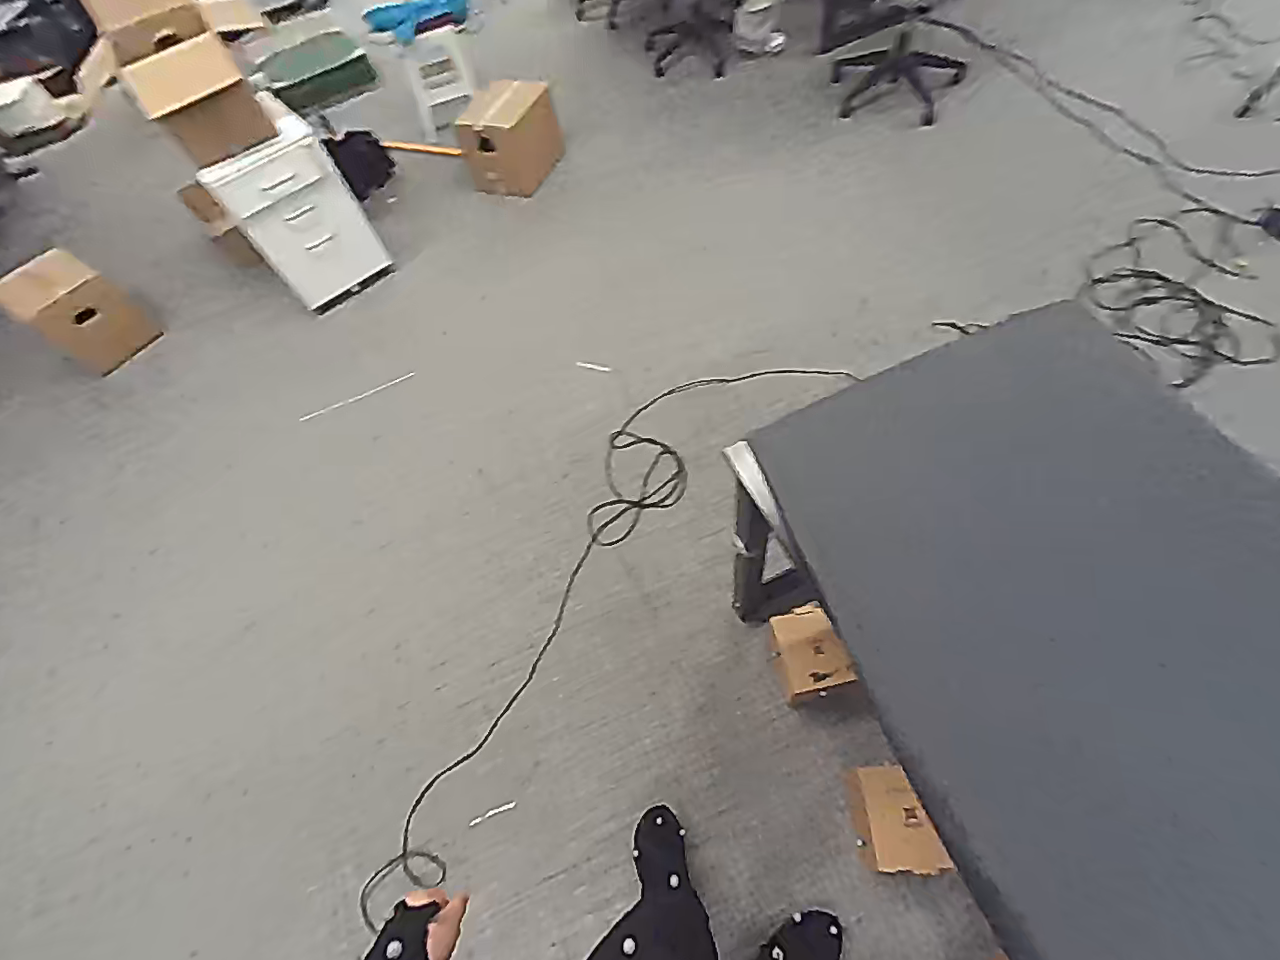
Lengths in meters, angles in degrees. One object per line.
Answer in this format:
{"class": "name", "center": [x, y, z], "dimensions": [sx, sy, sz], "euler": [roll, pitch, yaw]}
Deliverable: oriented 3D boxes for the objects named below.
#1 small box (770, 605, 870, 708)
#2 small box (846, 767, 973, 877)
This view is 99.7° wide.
{"class": "small box", "center": [0.416, 0.423, 1.286], "dimensions": [0.168, 0.176, 0.179], "euler": [-13, 57, 1]}
{"class": "small box", "center": [0.535, 0.692, 1.100], "dimensions": [0.168, 0.176, 0.179], "euler": [-6, 57, 5]}
